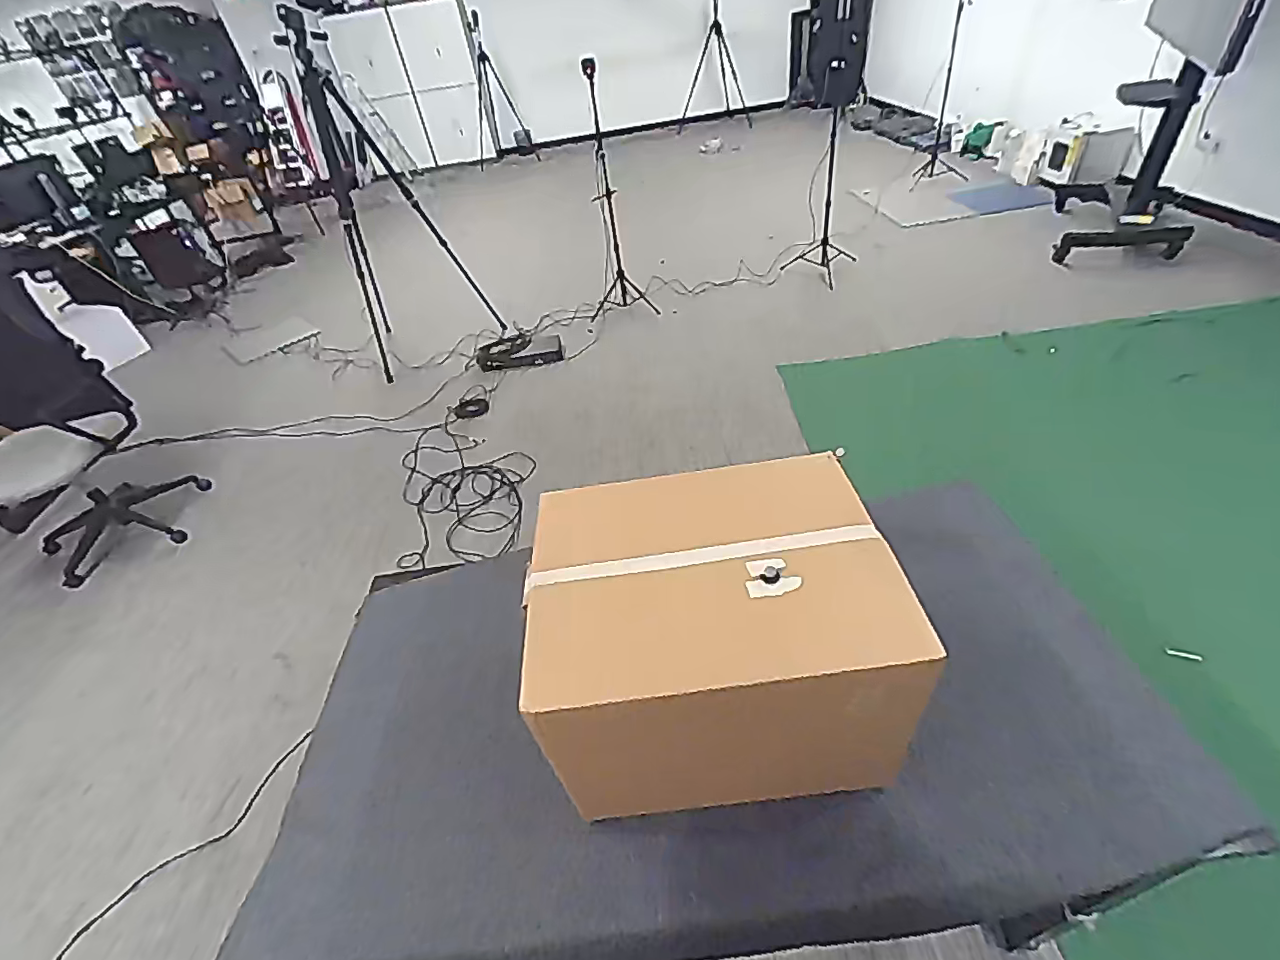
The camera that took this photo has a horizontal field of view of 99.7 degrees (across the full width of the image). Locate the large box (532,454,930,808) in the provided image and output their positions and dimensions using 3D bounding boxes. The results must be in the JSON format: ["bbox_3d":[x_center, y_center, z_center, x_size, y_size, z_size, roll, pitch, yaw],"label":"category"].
[{"bbox_3d":[0.092,0.202,0.733,0.408,0.320,0.320,-8,42,1],"label":"large box"}]
